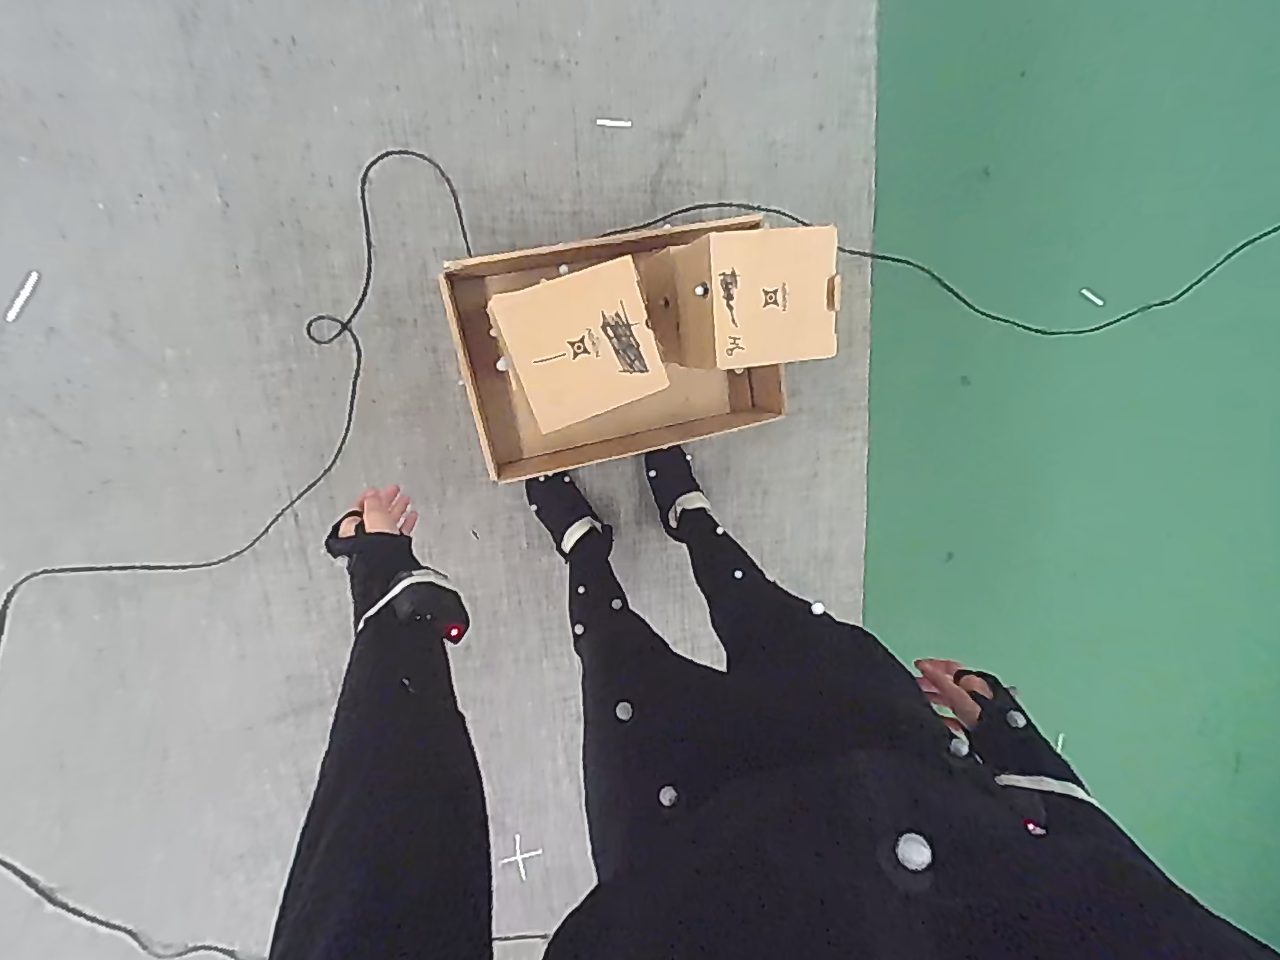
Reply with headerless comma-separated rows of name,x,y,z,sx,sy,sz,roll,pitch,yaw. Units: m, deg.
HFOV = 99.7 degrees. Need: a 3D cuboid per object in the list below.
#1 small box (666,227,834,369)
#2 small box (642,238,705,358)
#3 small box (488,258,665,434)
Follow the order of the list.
small box,0.148,-0.250,0.759,0.179,0.176,0.168,-9,105,-13
small box,0.108,-0.302,0.911,0.168,0.176,0.179,-11,107,-11
small box,-0.091,-0.179,0.718,0.179,0.176,0.168,-22,109,-9
